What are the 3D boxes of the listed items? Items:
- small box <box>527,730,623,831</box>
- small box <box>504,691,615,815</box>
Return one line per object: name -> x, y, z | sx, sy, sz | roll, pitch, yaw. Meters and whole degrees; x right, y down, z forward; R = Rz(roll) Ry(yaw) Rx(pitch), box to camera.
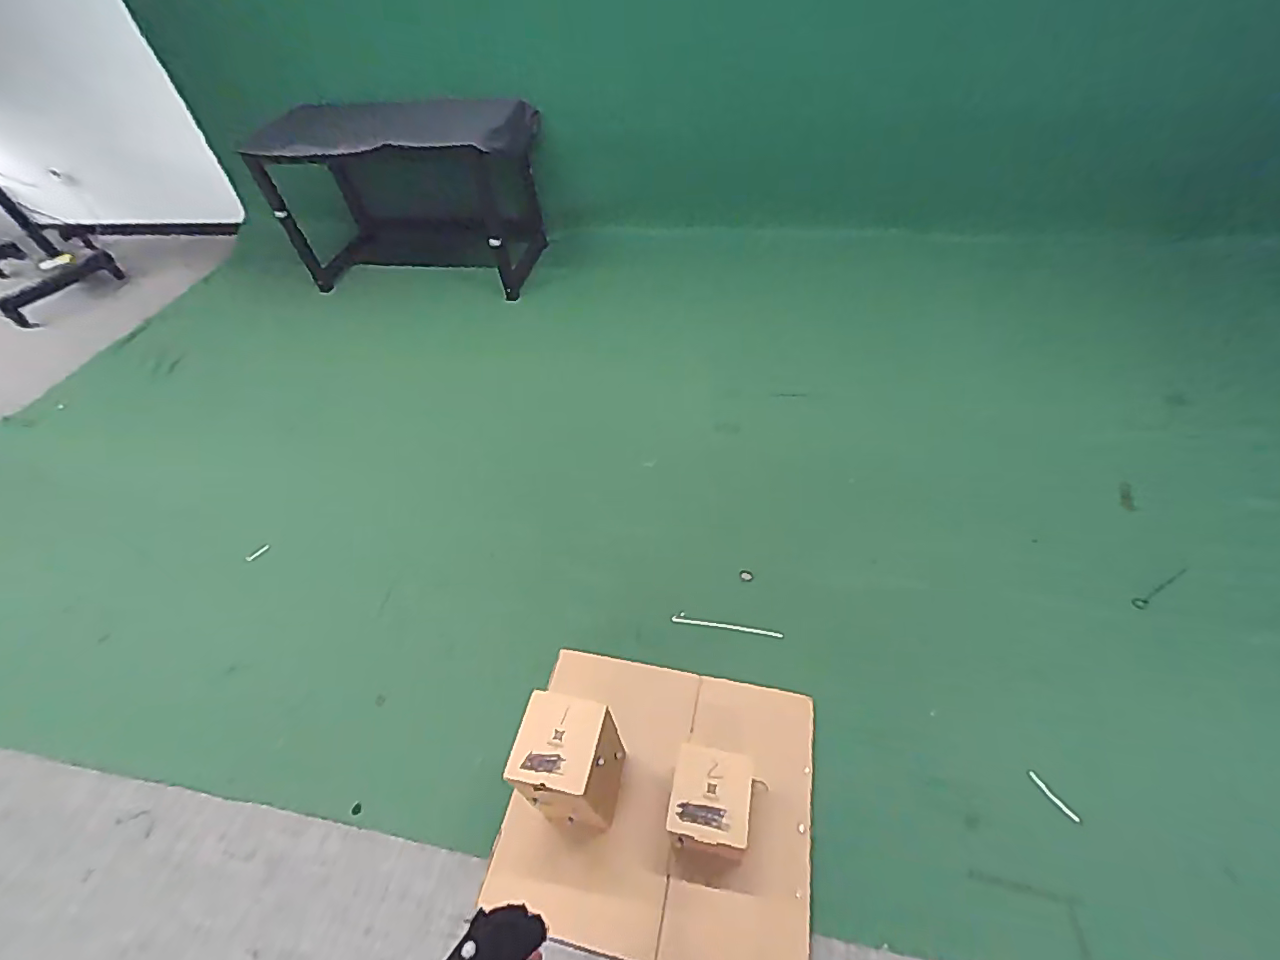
small box -> -0.139, 0.680, 1.245 | 0.168, 0.176, 0.179 | 5, 49, 12
small box -> -0.155, 0.570, 1.125 | 0.168, 0.176, 0.179 | 7, 49, 13
